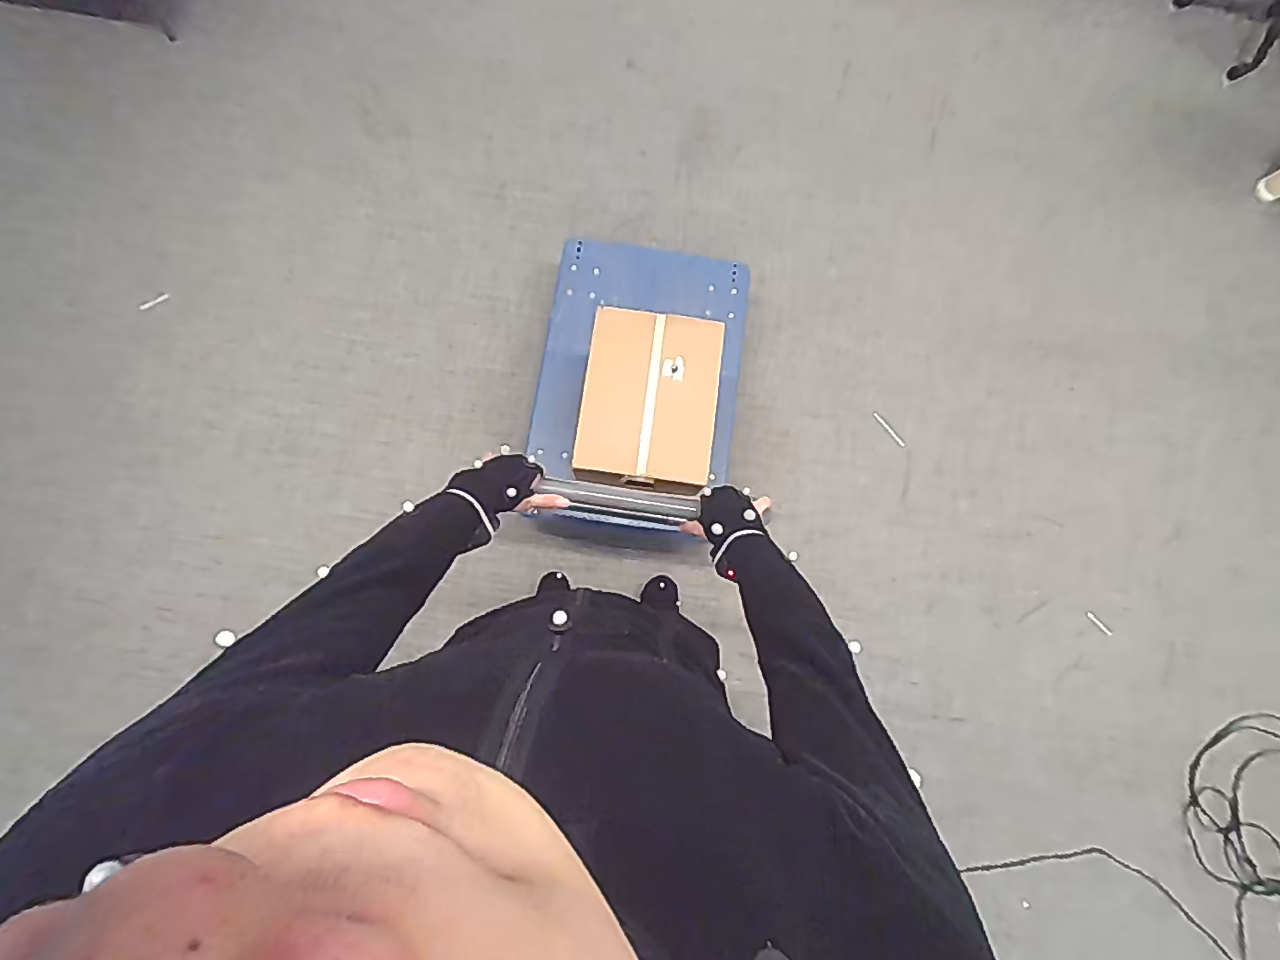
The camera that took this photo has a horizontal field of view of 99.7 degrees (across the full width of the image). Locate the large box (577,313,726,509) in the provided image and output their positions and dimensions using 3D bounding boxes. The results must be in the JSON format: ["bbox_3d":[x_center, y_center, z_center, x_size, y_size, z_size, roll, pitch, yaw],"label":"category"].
[{"bbox_3d":[0.028,-0.157,1.390,0.320,0.320,0.408,8,78,-2],"label":"large box"}]
